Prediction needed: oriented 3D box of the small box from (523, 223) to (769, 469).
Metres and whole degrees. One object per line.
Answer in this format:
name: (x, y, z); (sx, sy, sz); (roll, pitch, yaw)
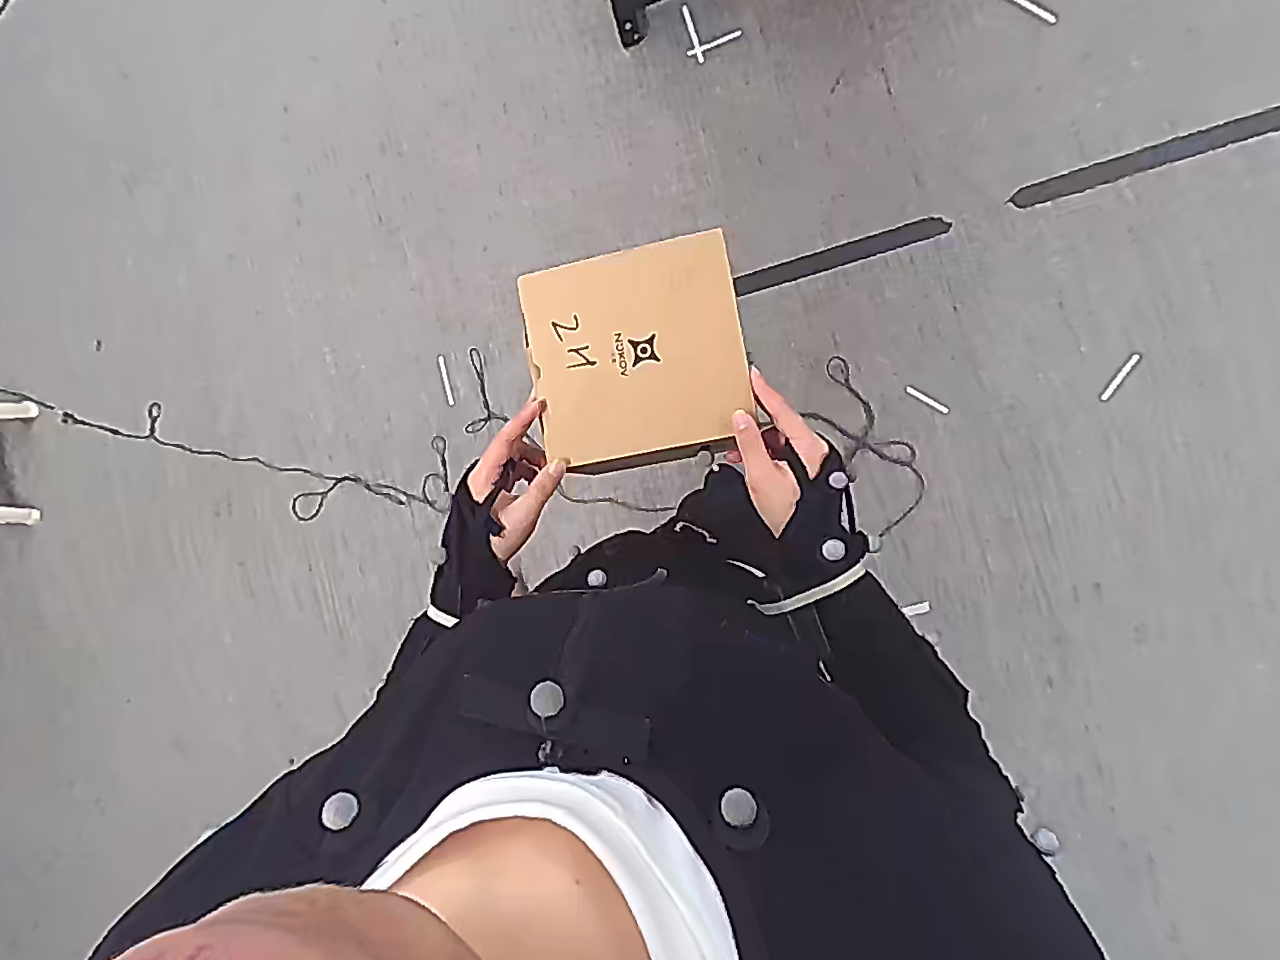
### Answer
small box: (0.012, -0.105, 0.503); (0.179, 0.176, 0.168); (-10, 88, 8)

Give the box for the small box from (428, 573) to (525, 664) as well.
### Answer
small box: (-0.404, 0.343, 1.360); (0.168, 0.176, 0.179); (-10, 88, 9)
